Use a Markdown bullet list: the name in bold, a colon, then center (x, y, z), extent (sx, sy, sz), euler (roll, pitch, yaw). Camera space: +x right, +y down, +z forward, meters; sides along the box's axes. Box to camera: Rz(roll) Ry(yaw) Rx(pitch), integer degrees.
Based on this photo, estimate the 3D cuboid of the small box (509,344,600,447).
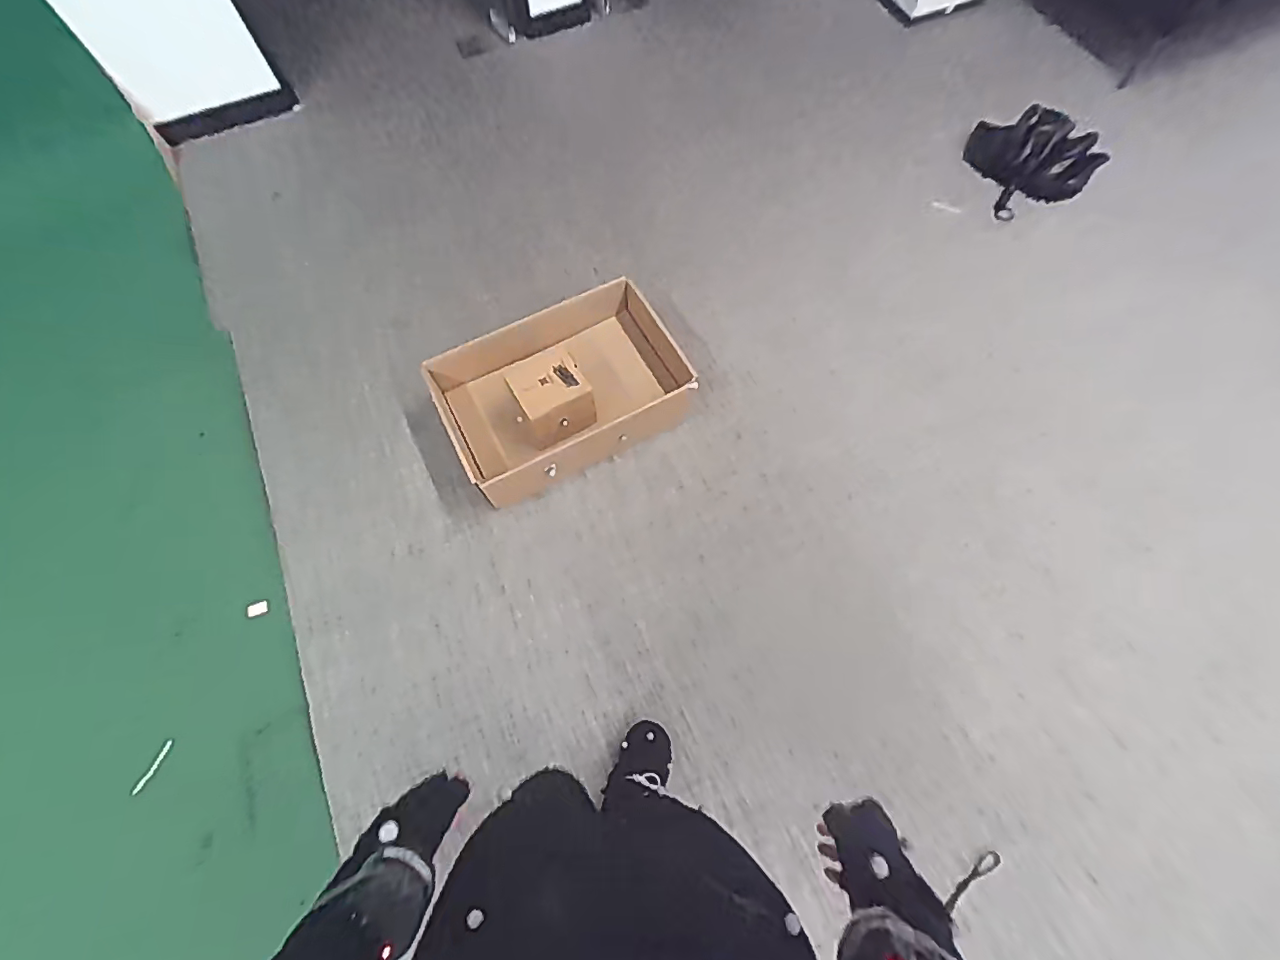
- **small box**: center (-0.216, -0.217, 1.419), extent (0.179, 0.176, 0.168), euler (-29, 69, -9)
